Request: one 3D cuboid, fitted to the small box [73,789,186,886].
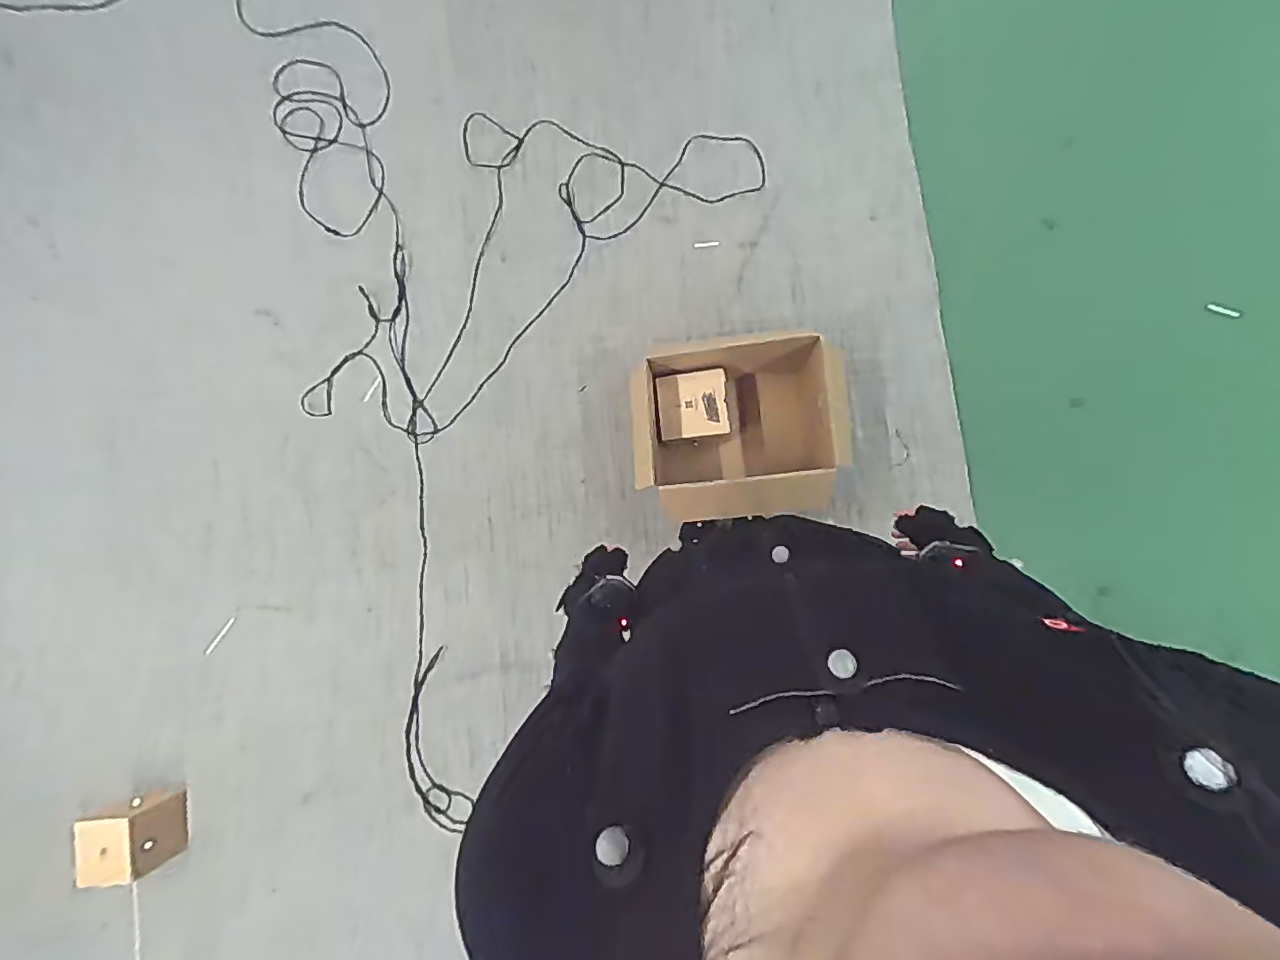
[{"bbox_3d":[-1.437,1.001,1.530,0.168,0.176,0.179,-8,86,5],"label":"small box"}]
